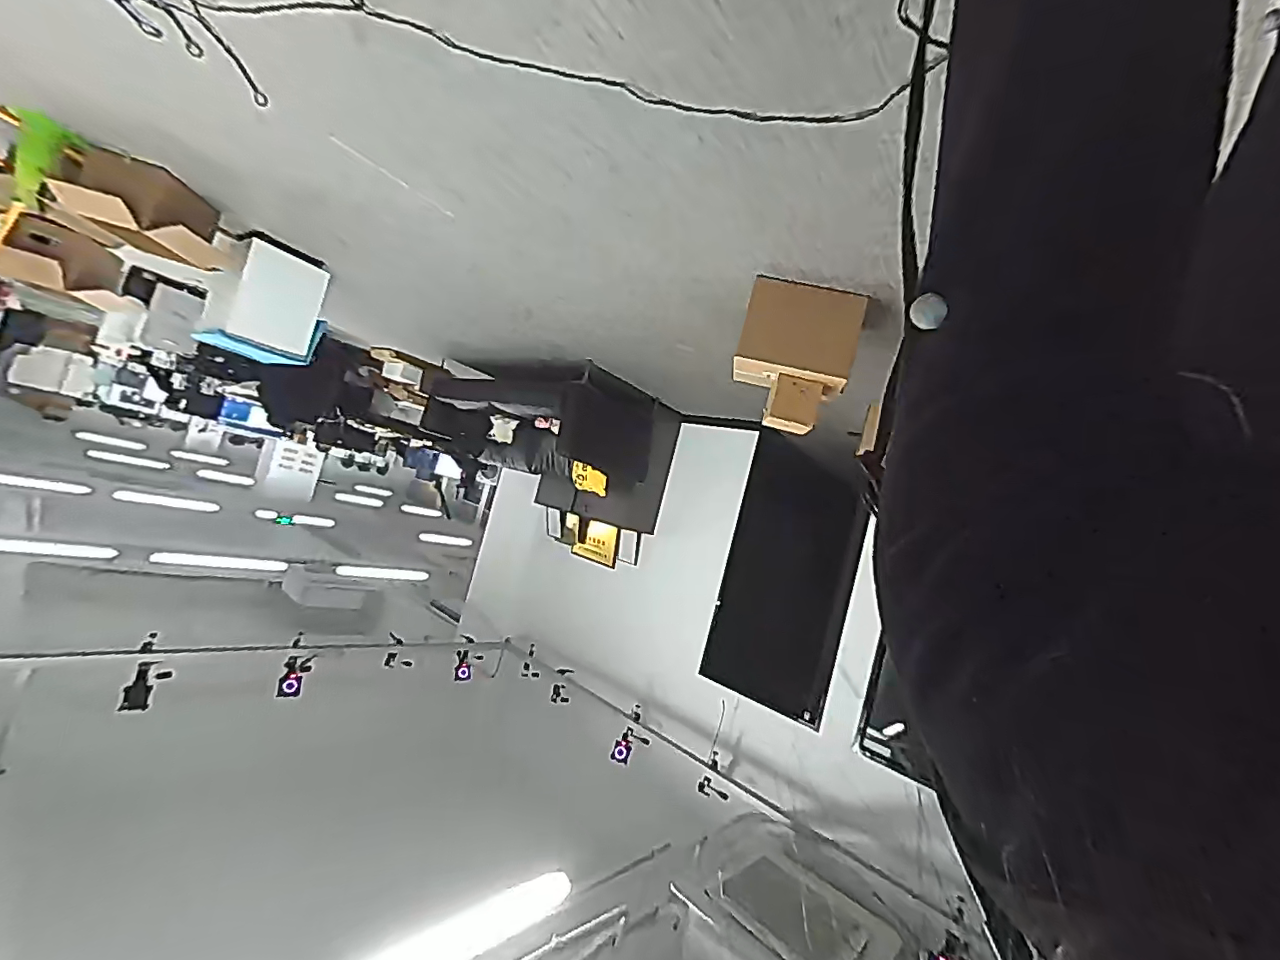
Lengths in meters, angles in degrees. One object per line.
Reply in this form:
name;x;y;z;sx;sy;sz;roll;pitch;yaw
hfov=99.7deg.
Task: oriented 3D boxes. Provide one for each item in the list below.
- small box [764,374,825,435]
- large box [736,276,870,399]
small box;0.577;-0.282;2.027;0.168;0.176;0.179;15;178;6
large box;0.598;-0.528;2.038;0.408;0.320;0.320;16;177;10
